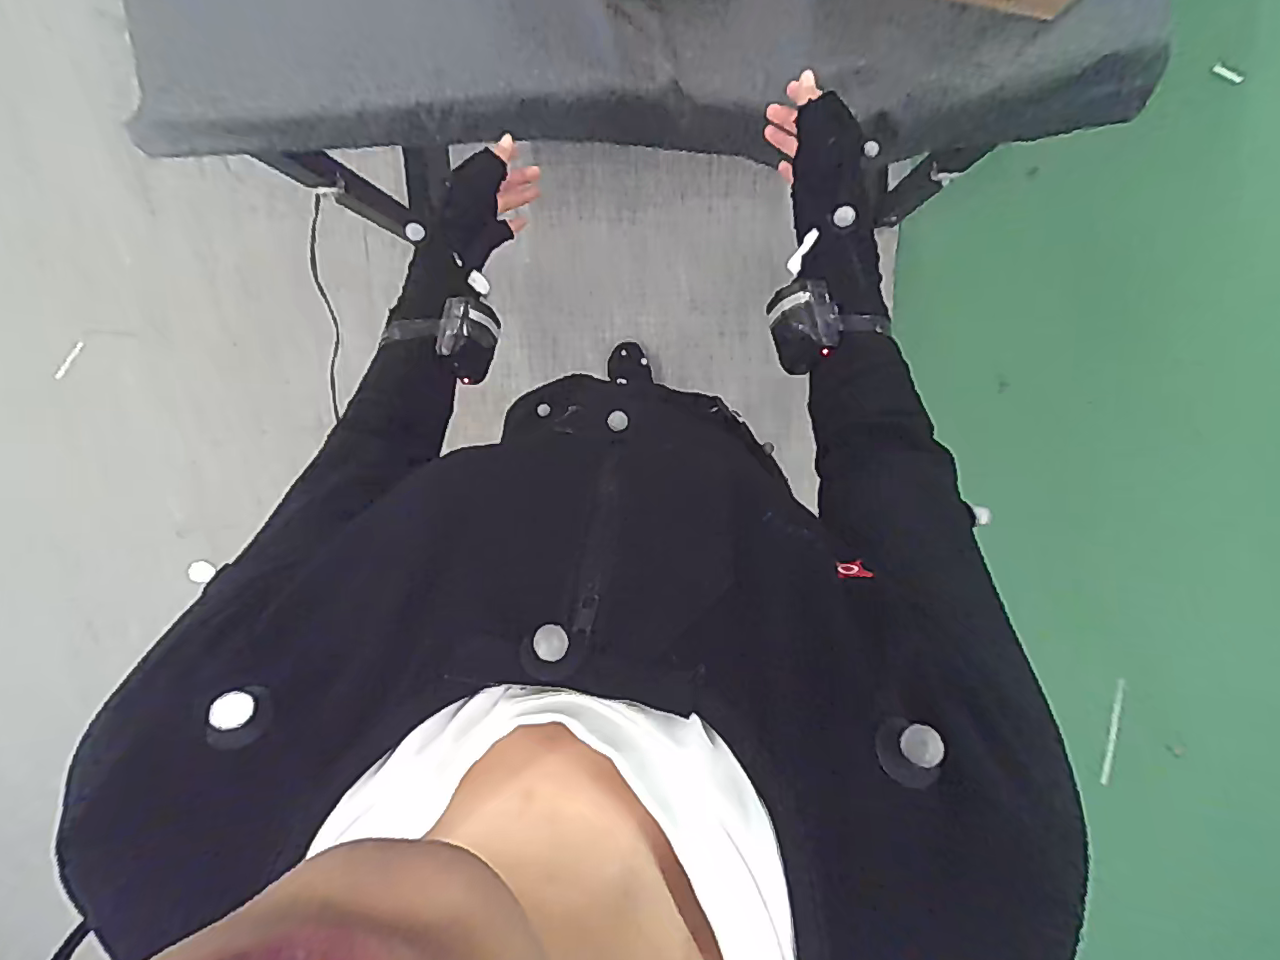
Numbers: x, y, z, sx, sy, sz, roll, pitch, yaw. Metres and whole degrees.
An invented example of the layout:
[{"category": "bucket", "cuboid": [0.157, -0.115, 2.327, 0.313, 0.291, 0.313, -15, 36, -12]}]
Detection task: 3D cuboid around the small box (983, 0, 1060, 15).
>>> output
[{"category": "small box", "cuboid": [0.386, -0.597, 0.510, 0.168, 0.176, 0.179, 13, 98, 1]}]
